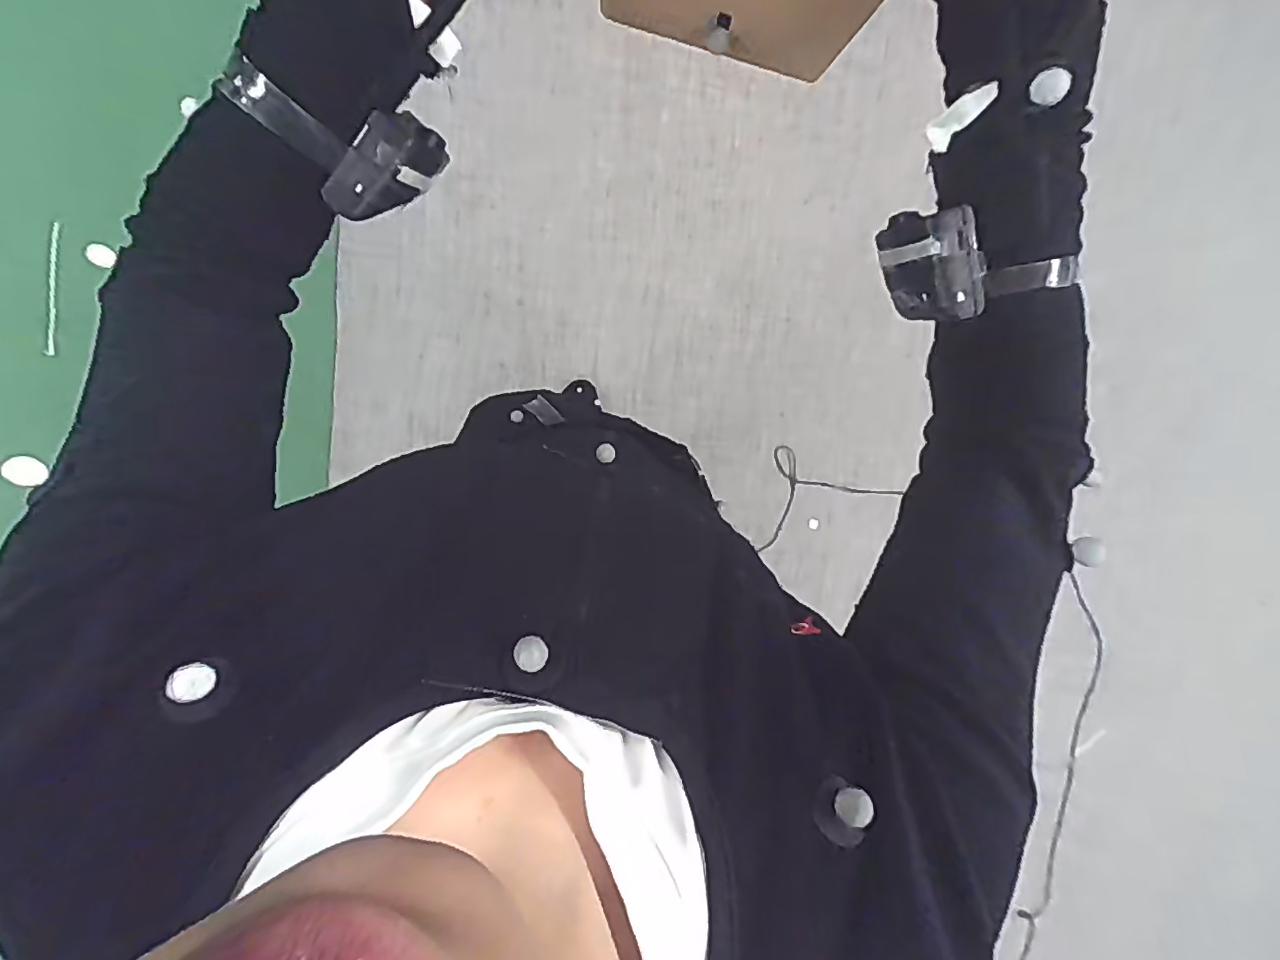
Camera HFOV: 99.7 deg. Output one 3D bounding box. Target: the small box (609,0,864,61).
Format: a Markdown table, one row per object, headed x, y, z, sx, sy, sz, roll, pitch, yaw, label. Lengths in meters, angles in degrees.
| x | y | z | sx | sy | sz | roll | pitch | yaw | label |
| --- | --- | --- | --- | --- | --- | --- | --- | --- | --- |
| 0.078 | -0.393 | 0.317 | 0.179 | 0.176 | 0.168 | 11 | 102 | -8 | small box |
